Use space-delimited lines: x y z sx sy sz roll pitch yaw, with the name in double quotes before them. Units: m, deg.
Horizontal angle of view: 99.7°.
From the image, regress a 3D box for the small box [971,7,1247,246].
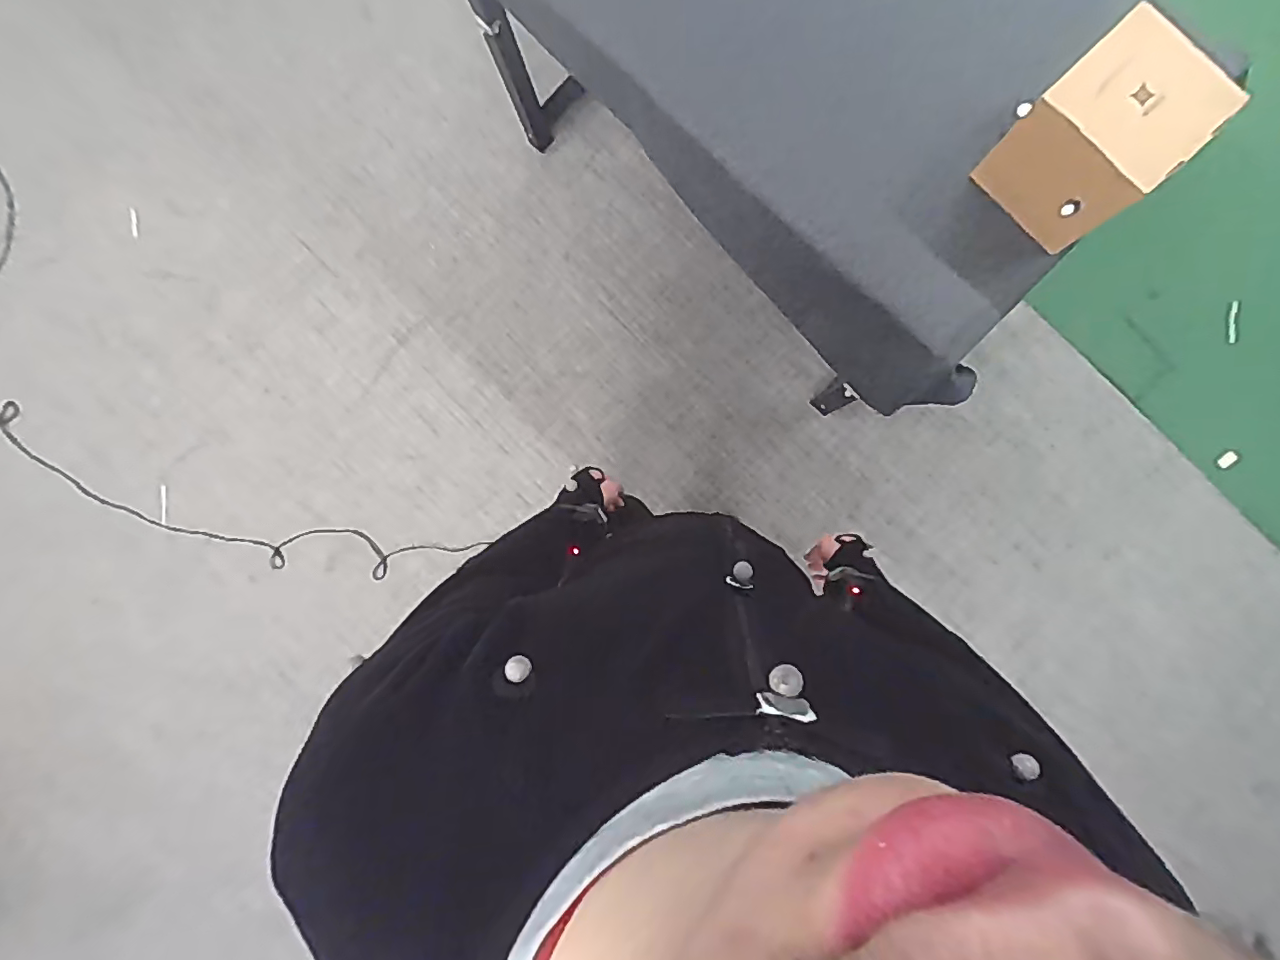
"small box" 0.599 -0.444 0.719 0.168 0.176 0.179 -43 86 2
